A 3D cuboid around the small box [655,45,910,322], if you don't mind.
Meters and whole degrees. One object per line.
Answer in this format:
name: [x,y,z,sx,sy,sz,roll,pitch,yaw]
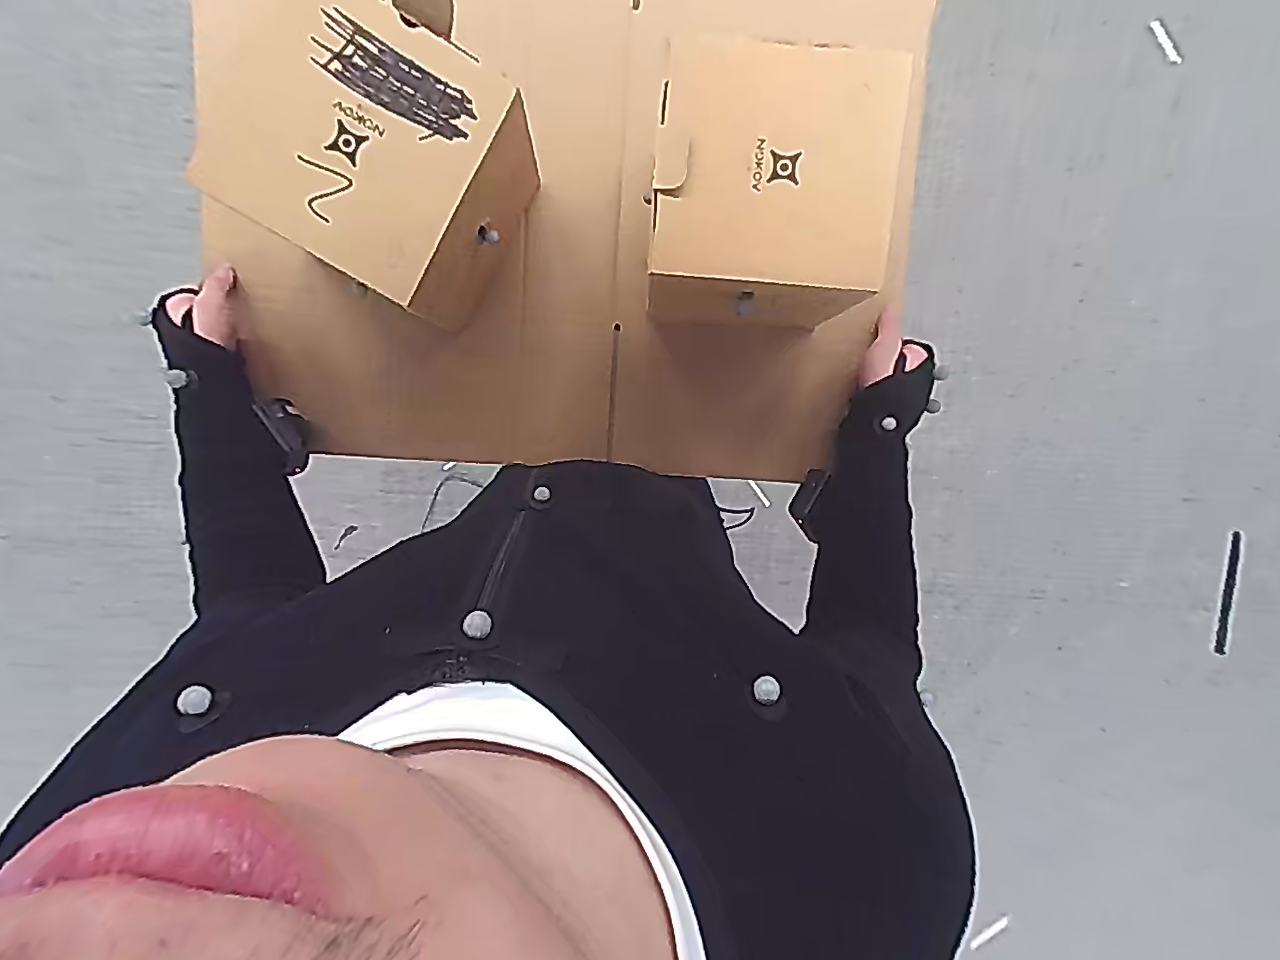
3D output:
small box: [0.107,-0.242,0.486,0.179,0.176,0.168,5,97,1]
